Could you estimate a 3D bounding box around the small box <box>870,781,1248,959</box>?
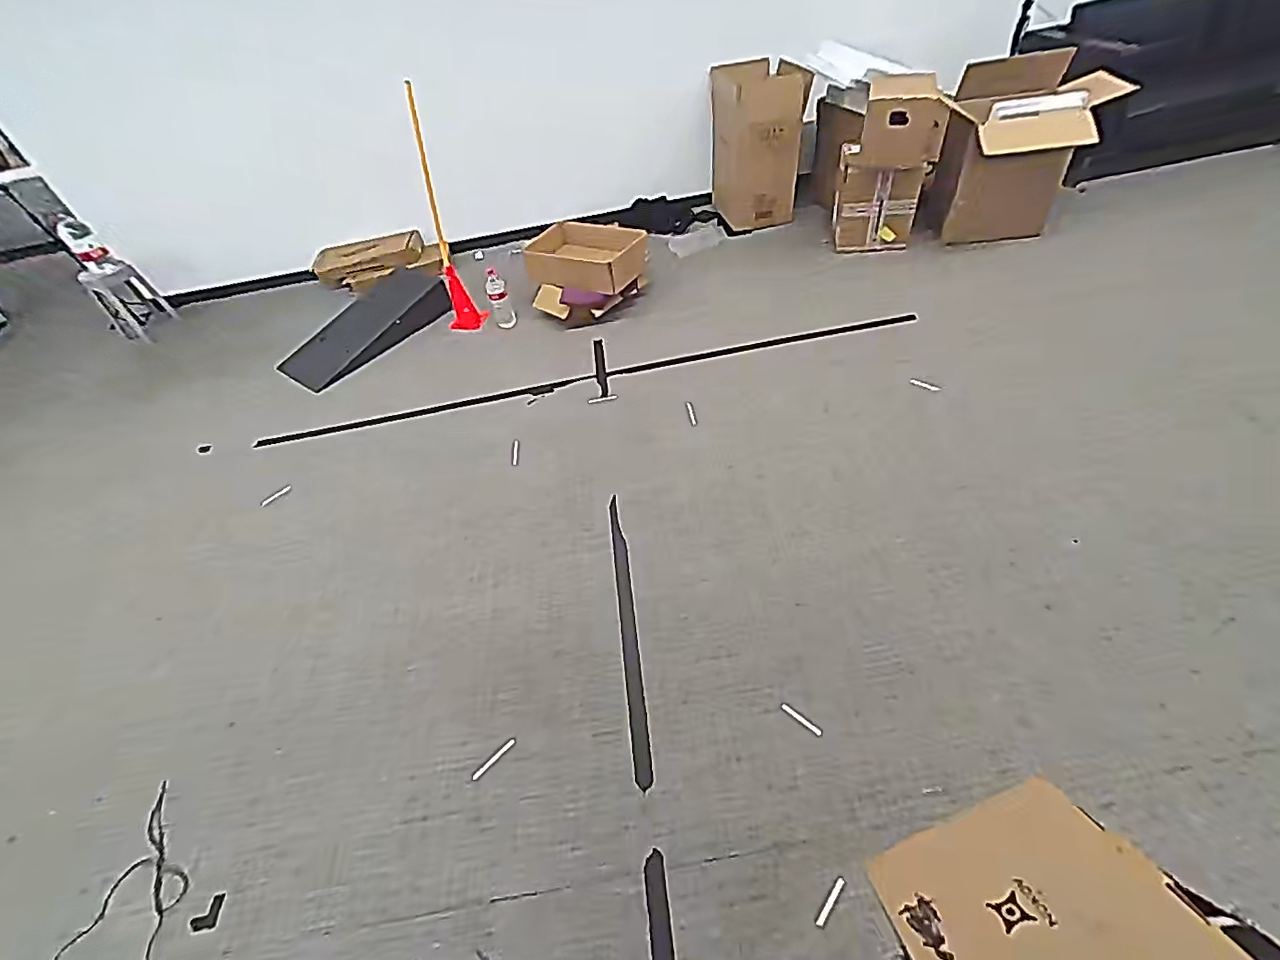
[{"bbox_3d":[0.315,0.381,0.405,0.179,0.176,0.168,-27,8,2],"label":"small box"}]
